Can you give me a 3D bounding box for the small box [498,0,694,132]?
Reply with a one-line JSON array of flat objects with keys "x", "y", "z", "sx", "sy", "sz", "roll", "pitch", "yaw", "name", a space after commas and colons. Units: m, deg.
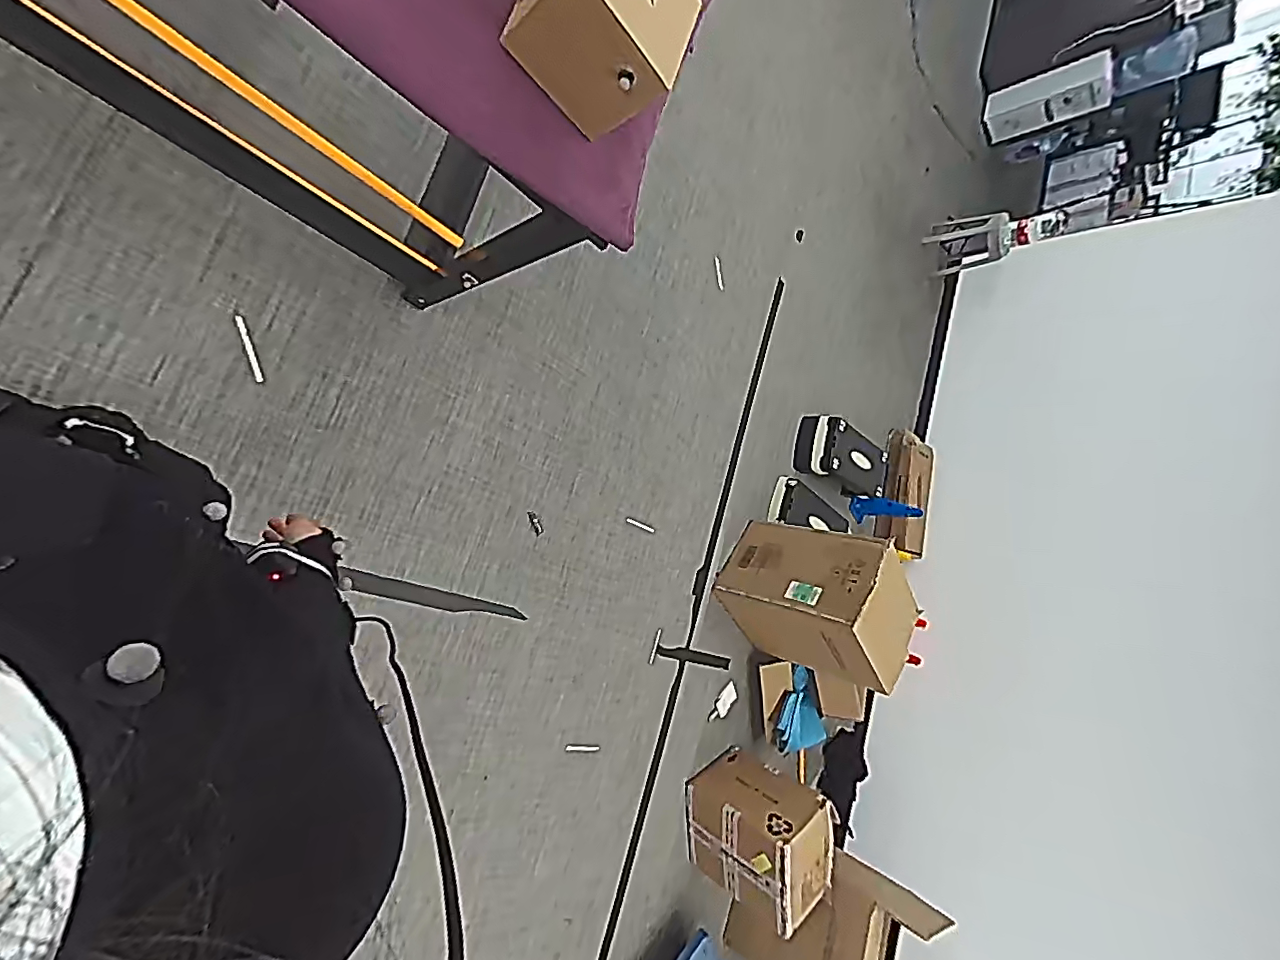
[{"x": -0.059, "y": -0.620, "z": 0.740, "sx": 0.179, "sy": 0.176, "sz": 0.168, "roll": 30, "pitch": 71, "yaw": -42, "name": "small box"}]
